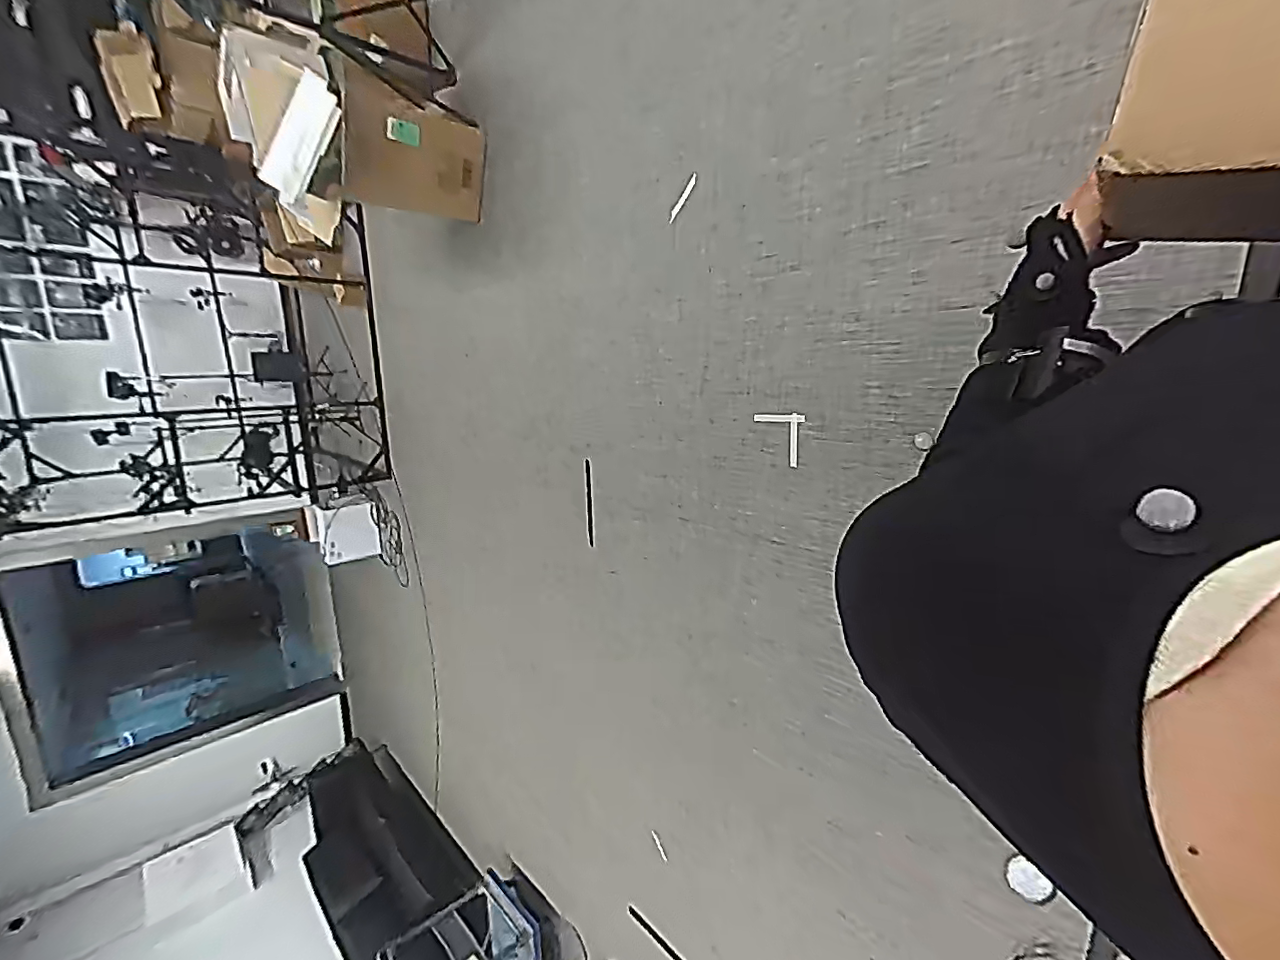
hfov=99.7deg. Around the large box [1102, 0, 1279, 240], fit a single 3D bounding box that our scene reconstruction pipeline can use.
[{"bbox_3d":[0.471,-0.277,0.200,0.408,0.320,0.320,18,115,35],"label":"large box"}]
